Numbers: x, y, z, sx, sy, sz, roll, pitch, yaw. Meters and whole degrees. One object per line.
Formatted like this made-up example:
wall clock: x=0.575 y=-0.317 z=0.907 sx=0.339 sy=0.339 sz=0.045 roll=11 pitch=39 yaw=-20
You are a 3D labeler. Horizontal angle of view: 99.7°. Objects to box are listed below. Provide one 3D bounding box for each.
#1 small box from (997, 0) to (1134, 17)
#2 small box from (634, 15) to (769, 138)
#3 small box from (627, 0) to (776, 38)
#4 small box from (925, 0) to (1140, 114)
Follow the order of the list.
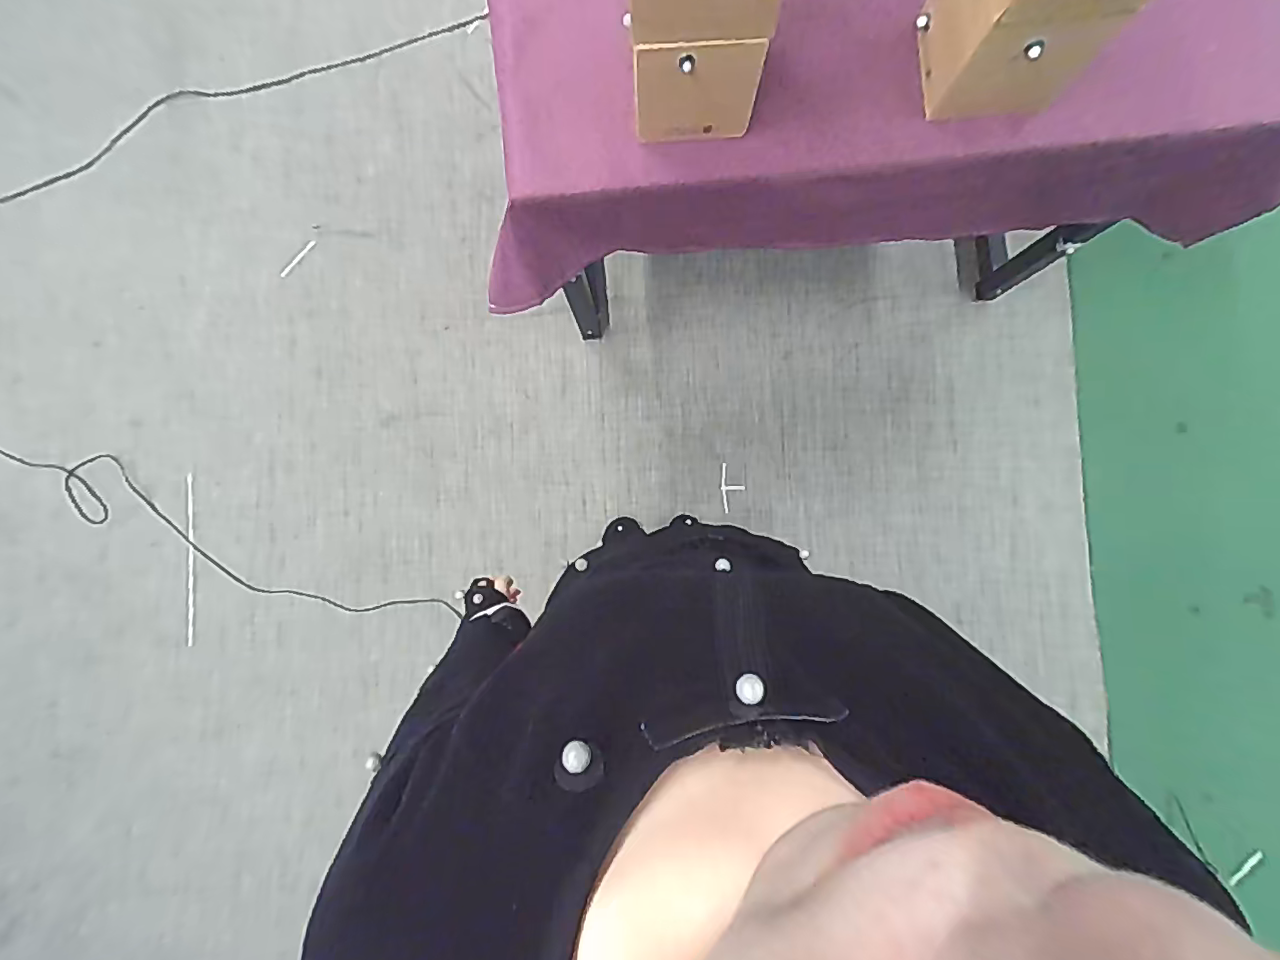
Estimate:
small box: x=0.510 y=-0.642 z=0.571 sx=0.179 sy=0.176 sz=0.168 roll=-4 pitch=87 yaw=2
small box: x=0.074 y=-0.610 z=0.741 sx=0.168 sy=0.176 sz=0.179 roll=-3 pitch=86 yaw=2
small box: x=0.071 y=-0.620 z=0.578 sx=0.179 sy=0.176 sz=0.168 roll=-1 pitch=86 yaw=2
small box: x=0.510 y=-0.633 z=0.733 sx=0.179 sy=0.176 sz=0.168 roll=-3 pitch=87 yaw=0
